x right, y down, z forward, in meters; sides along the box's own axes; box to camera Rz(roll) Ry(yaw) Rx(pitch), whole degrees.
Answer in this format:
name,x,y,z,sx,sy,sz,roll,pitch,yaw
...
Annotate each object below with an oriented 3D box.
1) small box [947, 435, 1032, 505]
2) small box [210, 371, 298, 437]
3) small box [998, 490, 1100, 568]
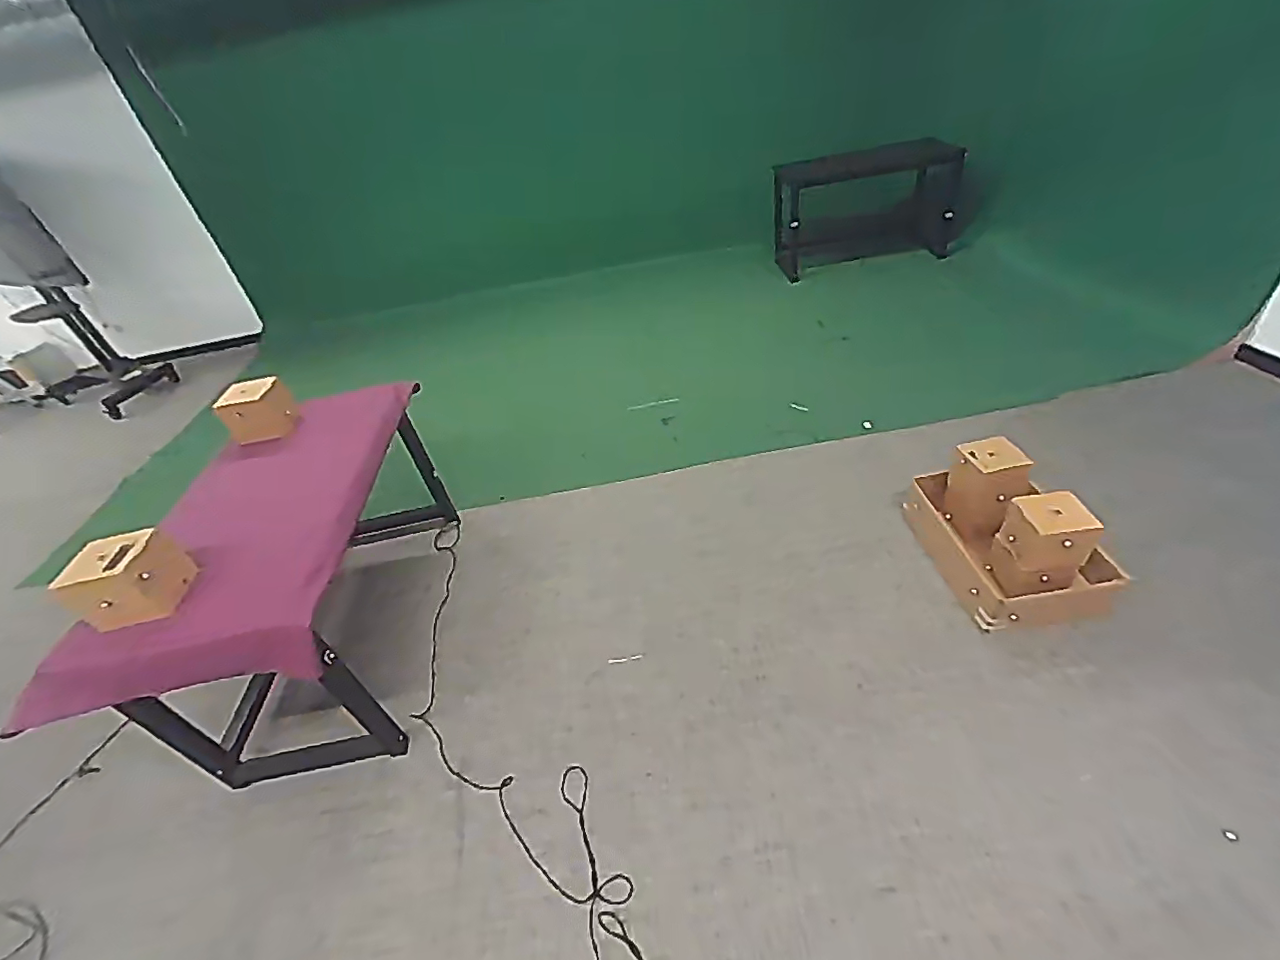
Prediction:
name,x,y,z,sx,sy,sz,roll,pitch,yaw
small box,1.227,-0.034,1.915,0.179,0.176,0.168,-11,39,0
small box,-1.424,-0.278,2.006,0.179,0.176,0.168,-9,42,1
small box,1.262,0.154,1.683,0.179,0.176,0.168,-8,40,6
